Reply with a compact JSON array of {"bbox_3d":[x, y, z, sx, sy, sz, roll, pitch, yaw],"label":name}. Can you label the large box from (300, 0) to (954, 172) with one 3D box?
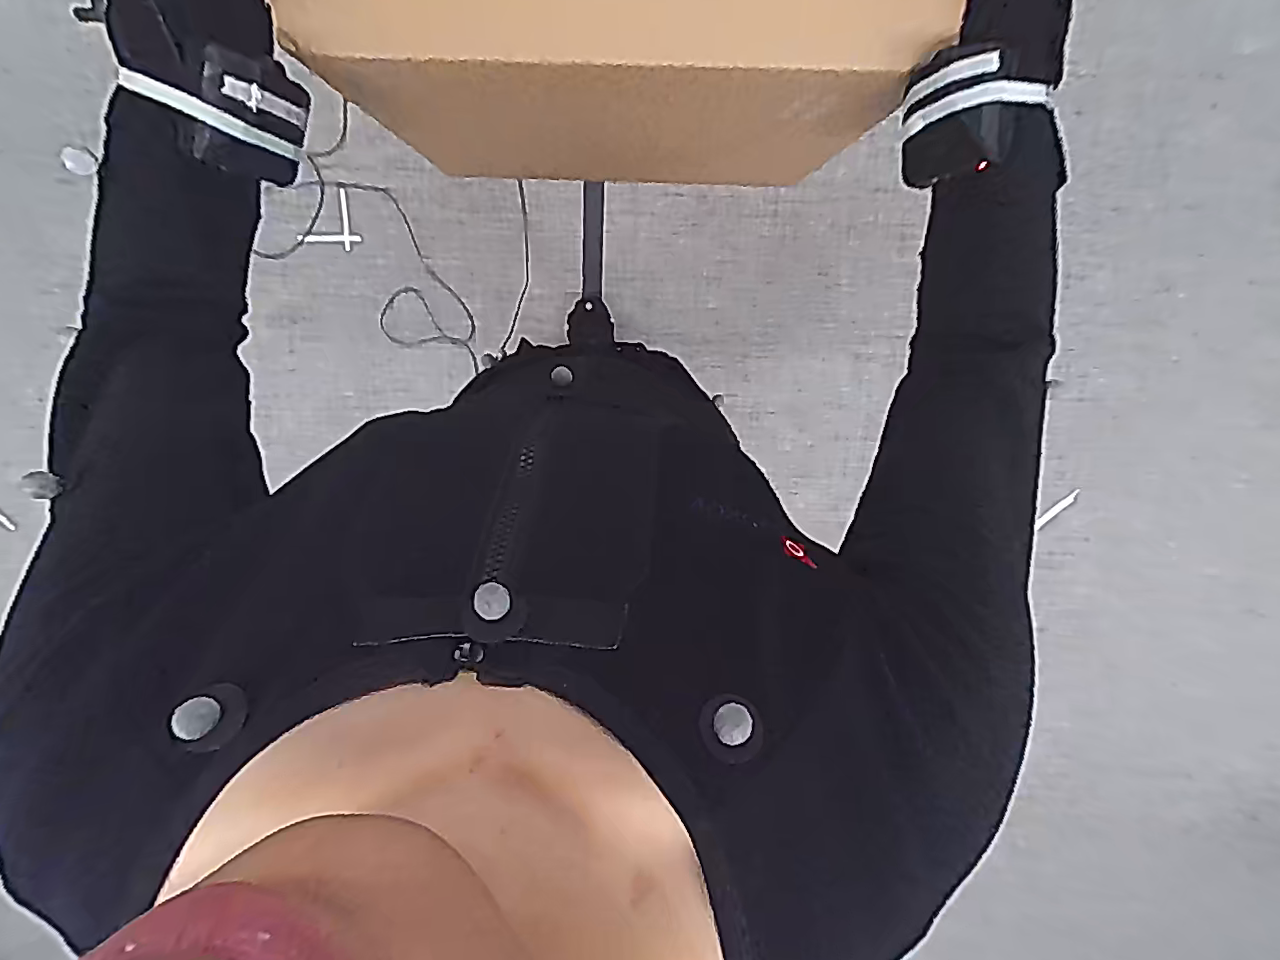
[{"bbox_3d":[-0.012,-0.456,0.432,0.408,0.320,0.320,0,108,-2],"label":"large box"}]
